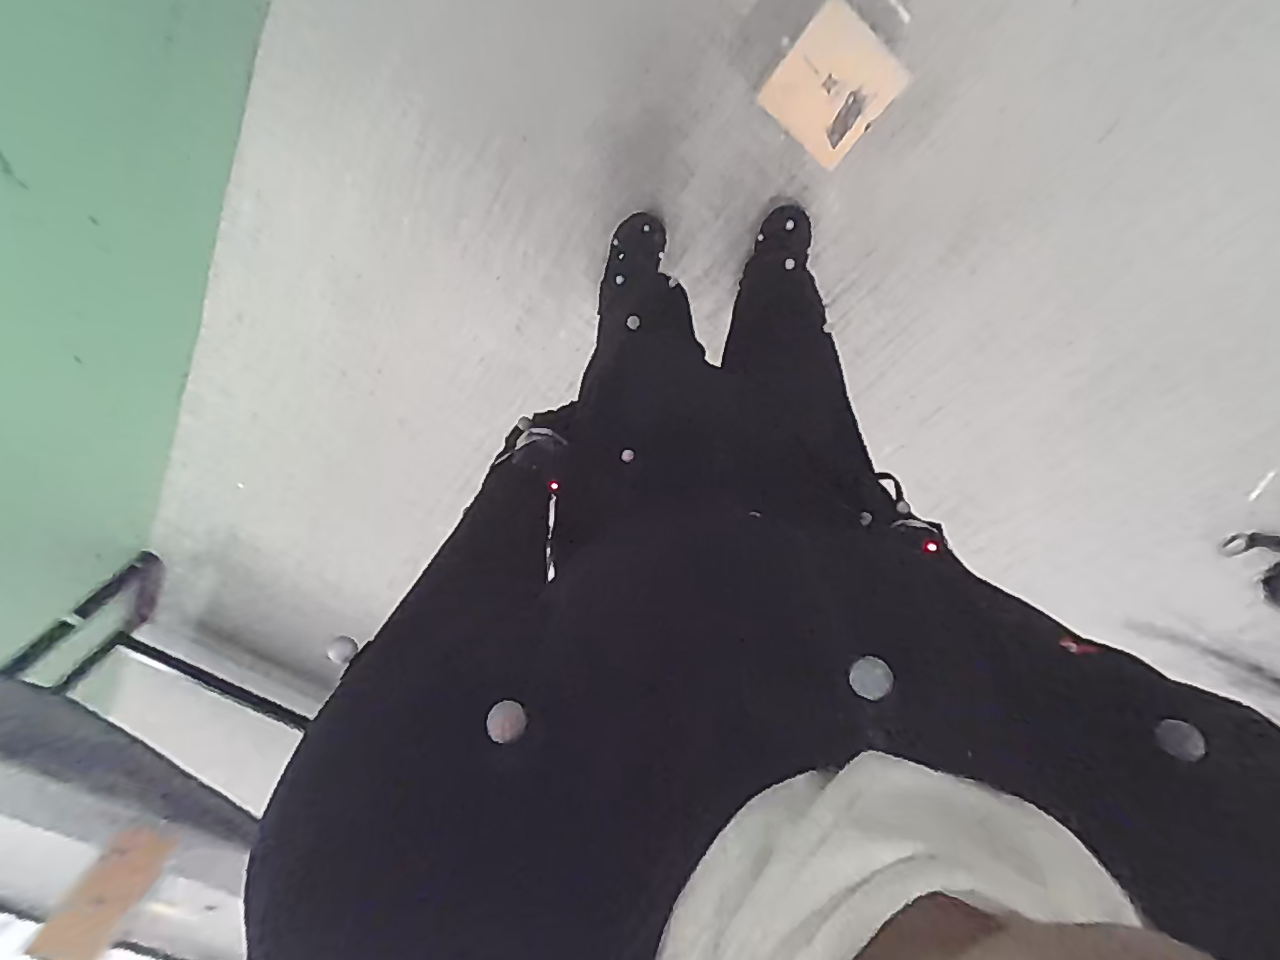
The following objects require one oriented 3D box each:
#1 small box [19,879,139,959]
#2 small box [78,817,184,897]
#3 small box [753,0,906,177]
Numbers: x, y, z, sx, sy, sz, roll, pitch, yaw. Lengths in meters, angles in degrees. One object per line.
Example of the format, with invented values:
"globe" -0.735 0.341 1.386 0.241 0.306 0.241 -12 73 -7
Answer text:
"small box" -1.614 1.281 1.561 0.179 0.176 0.168 34 126 -14
"small box" -1.588 1.180 1.688 0.179 0.176 0.168 34 126 -16
"small box" 0.312 -0.658 0.920 0.179 0.176 0.168 36 123 -14
